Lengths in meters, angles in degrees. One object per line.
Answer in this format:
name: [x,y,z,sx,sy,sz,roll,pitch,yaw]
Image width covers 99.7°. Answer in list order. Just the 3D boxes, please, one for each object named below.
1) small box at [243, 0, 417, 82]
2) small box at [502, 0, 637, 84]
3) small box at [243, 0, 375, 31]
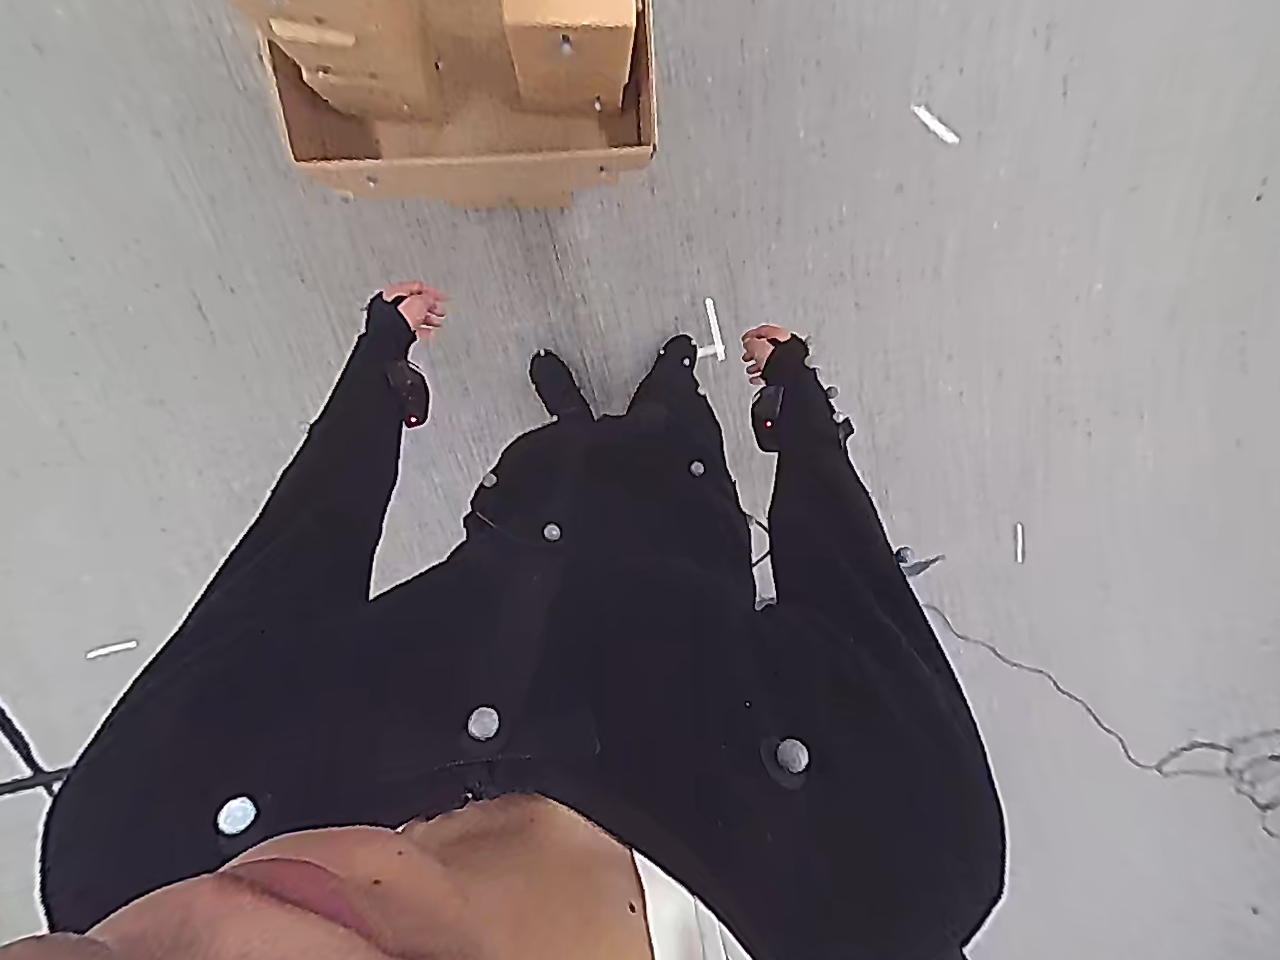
small box: [-0.415,-0.682,0.740,0.168,0.176,0.179,2,104,-6]
small box: [-0.100,-0.693,0.766,0.179,0.176,0.168,-3,104,-4]
small box: [-0.399,-0.635,0.583,0.168,0.176,0.179,6,105,-7]
